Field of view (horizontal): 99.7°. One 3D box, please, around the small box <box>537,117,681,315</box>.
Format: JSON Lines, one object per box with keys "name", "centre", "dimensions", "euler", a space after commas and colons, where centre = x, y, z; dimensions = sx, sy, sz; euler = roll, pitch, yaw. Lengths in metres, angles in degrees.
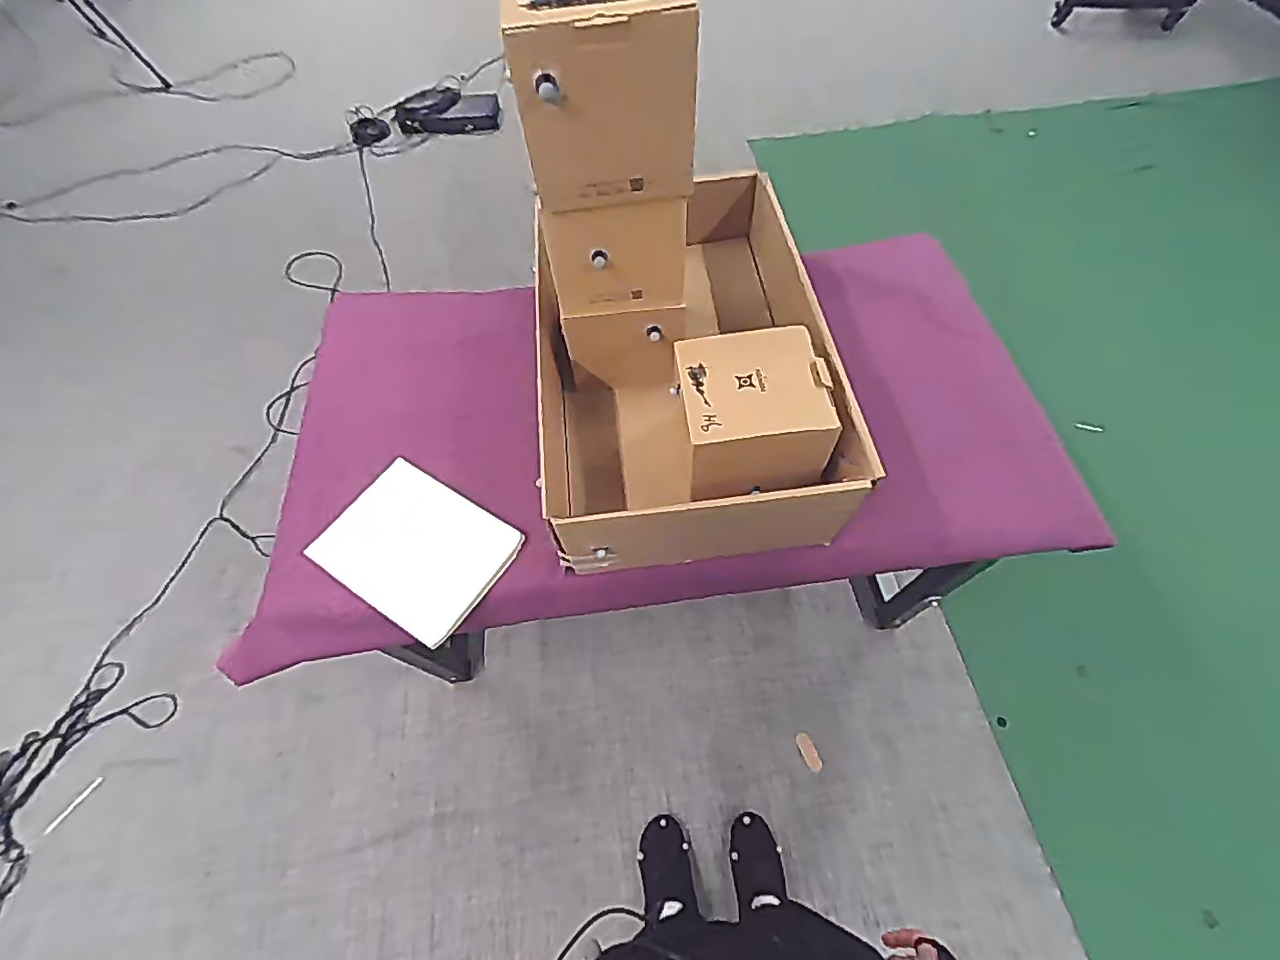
{"name": "small box", "centre": [-0.035, -0.334, 0.709], "dimensions": [0.168, 0.176, 0.179], "euler": [-5, 61, 0]}
